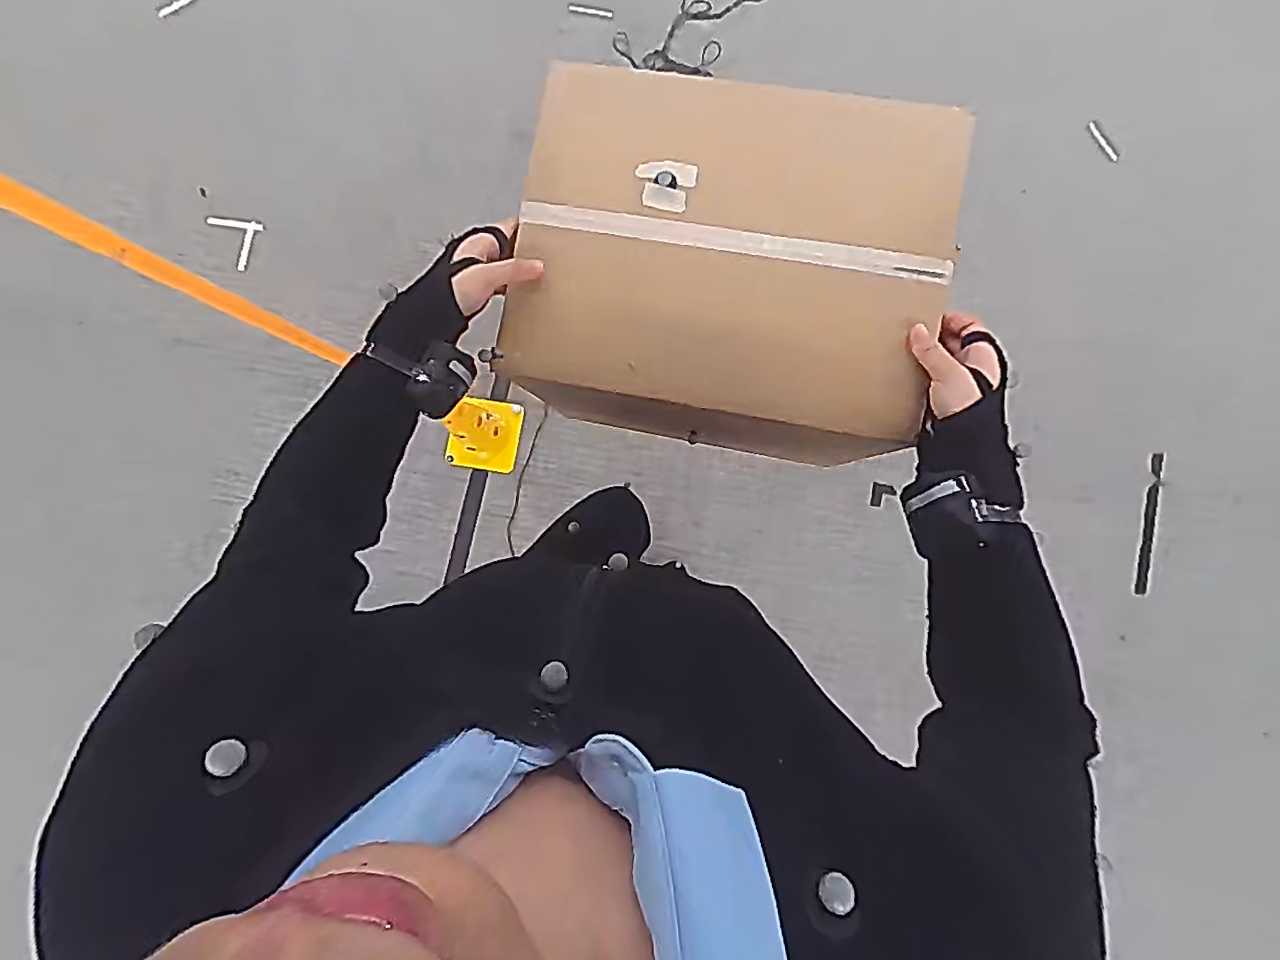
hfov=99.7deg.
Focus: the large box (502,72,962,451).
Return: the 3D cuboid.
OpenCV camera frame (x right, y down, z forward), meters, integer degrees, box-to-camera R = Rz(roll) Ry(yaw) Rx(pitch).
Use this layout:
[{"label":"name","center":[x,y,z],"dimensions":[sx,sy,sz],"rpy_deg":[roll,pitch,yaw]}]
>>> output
[{"label":"large box","center":[0.099,-0.224,0.667],"dimensions":[0.408,0.320,0.320],"rpy_deg":[10,88,7]}]
